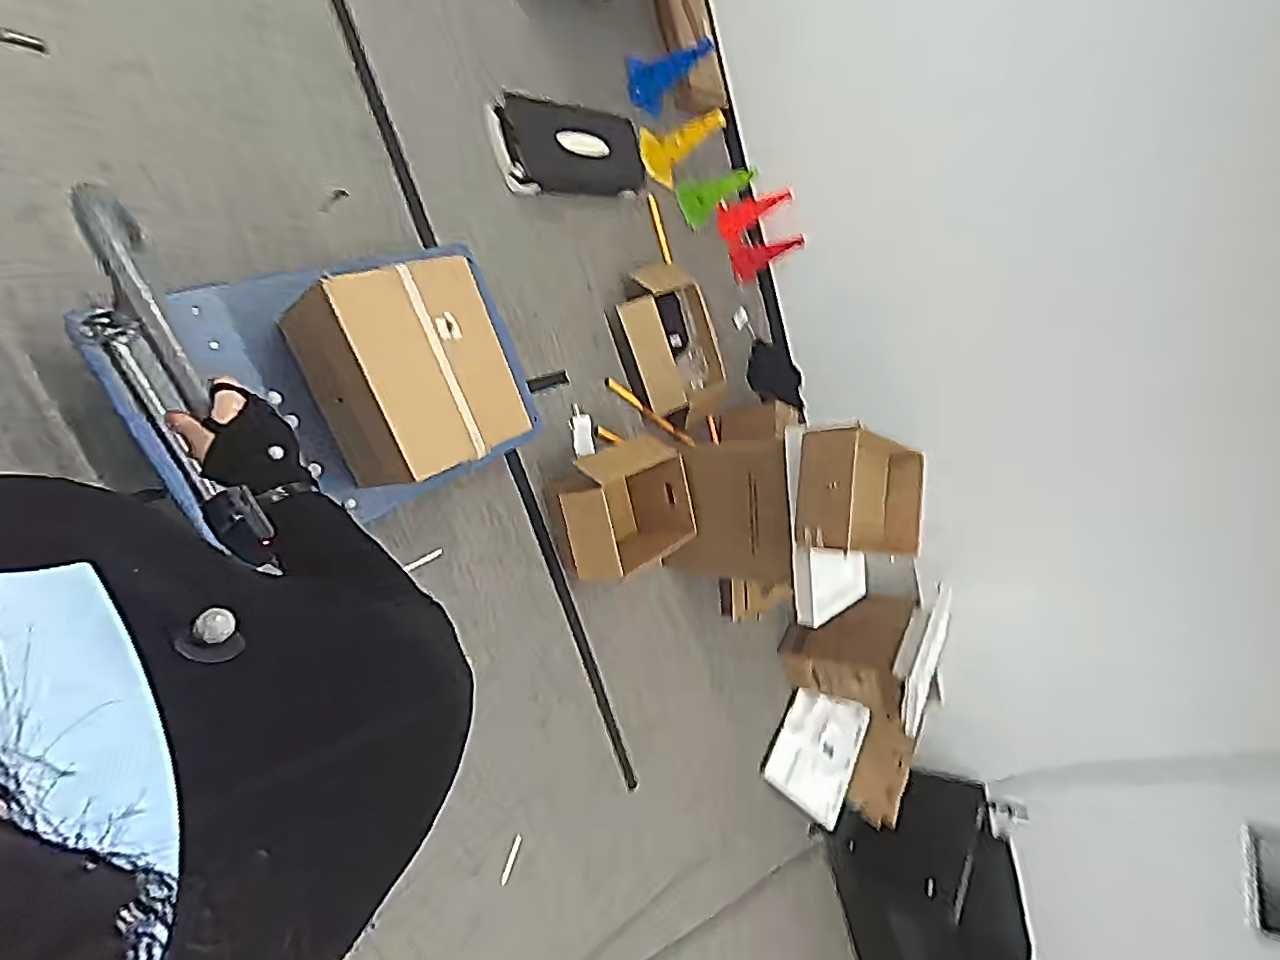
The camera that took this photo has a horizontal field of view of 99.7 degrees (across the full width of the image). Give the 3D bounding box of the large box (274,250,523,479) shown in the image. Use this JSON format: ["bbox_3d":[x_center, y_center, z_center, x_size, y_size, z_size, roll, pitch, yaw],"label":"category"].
[{"bbox_3d":[-0.539,-0.249,1.227,0.320,0.320,0.408,-35,111,-43],"label":"large box"}]
